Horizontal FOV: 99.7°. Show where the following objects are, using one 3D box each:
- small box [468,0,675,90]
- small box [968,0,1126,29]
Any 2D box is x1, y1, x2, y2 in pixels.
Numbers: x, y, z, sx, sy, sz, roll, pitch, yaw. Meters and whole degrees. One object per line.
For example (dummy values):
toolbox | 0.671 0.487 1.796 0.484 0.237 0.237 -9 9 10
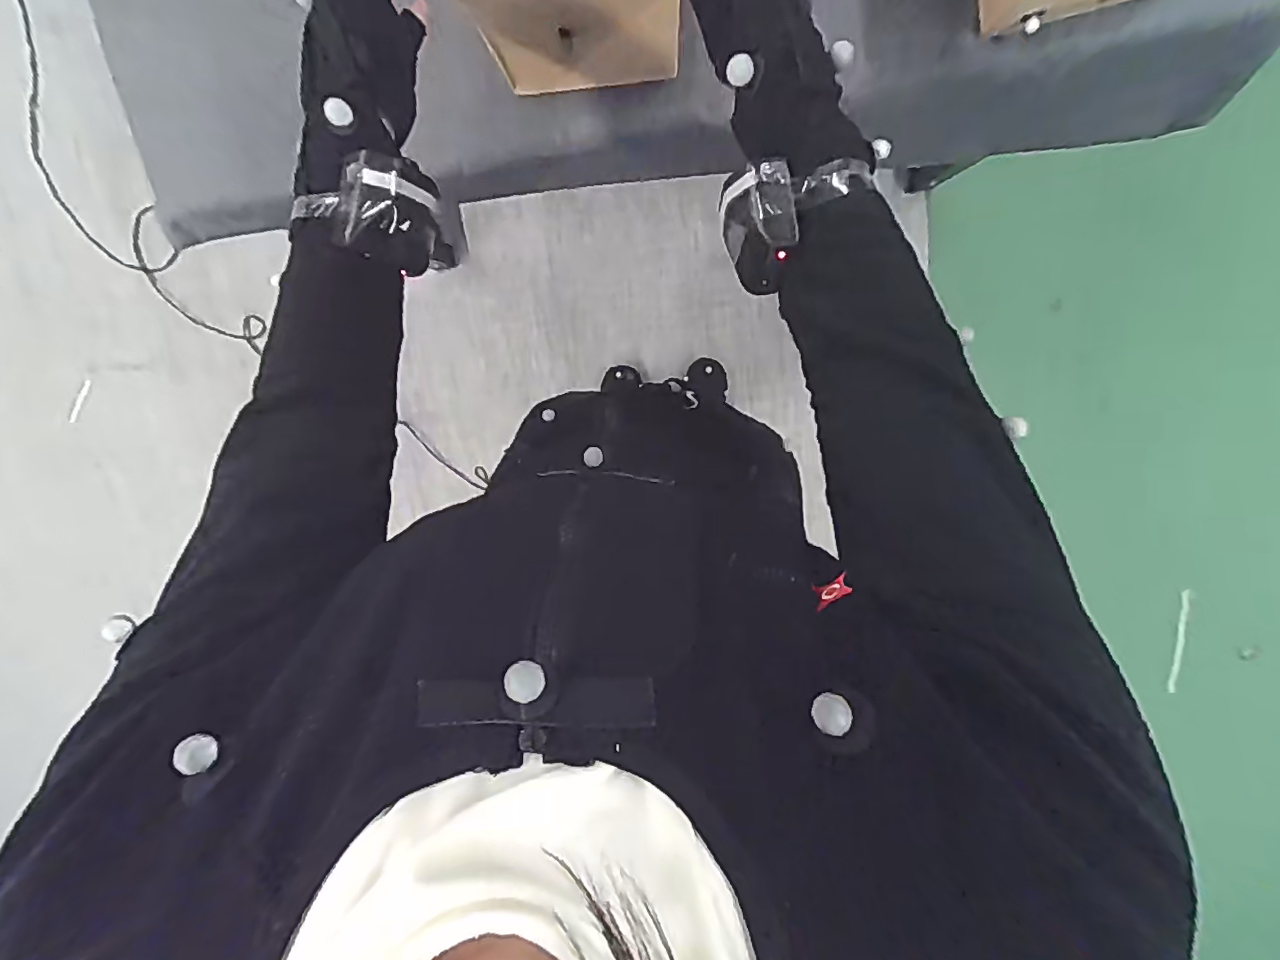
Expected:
small box | -0.059 -0.484 0.488 0.179 0.176 0.168 -3 103 4
small box | 0.396 -0.526 0.452 0.168 0.176 0.179 -11 102 6
